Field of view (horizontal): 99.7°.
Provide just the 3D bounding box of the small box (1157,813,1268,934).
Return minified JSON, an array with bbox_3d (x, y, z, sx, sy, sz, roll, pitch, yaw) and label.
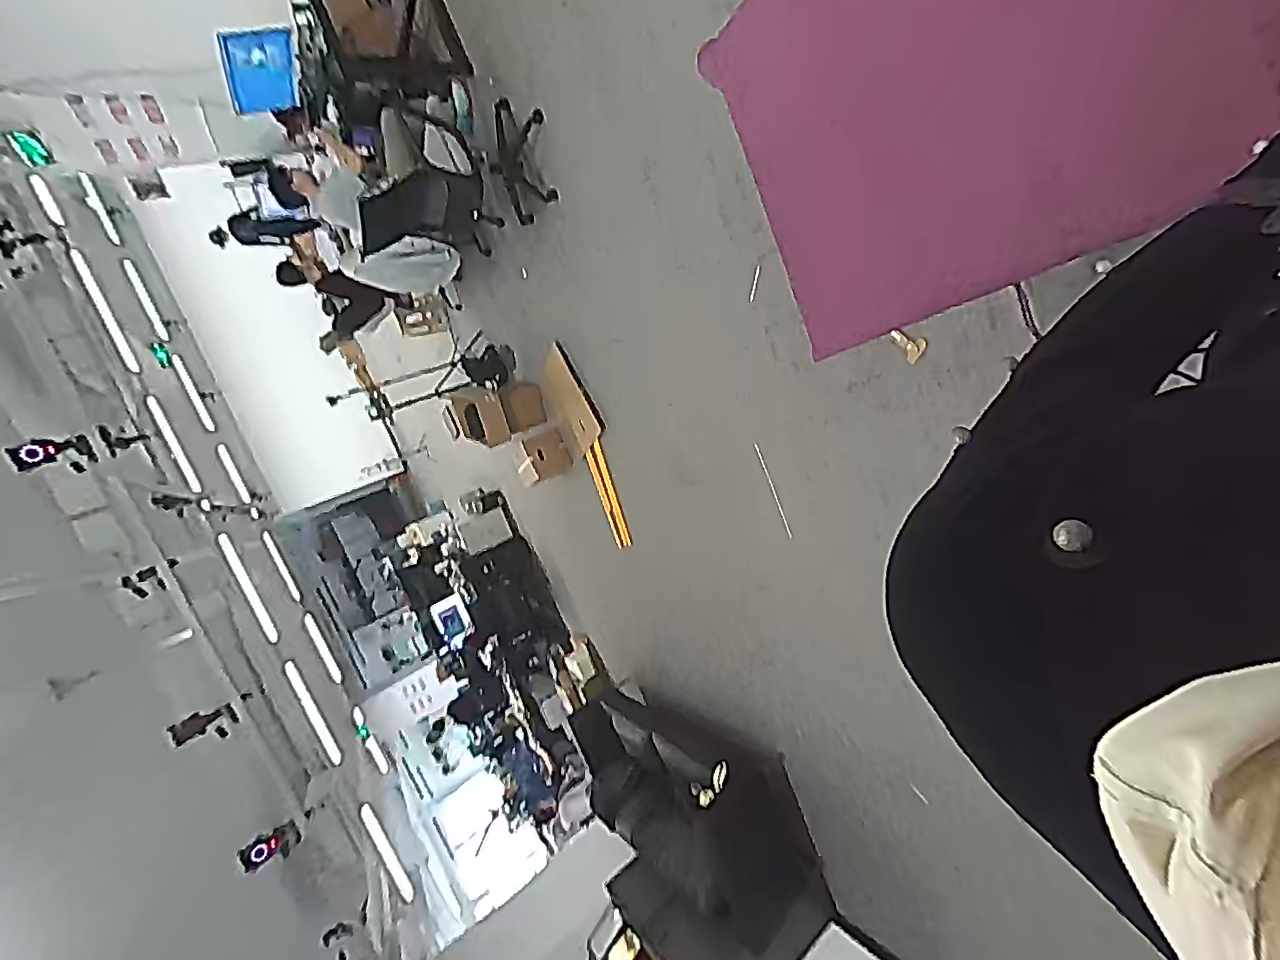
[{"bbox_3d":[1.580,1.069,1.490,0.179,0.176,0.168,-3,110,61],"label":"small box"}]
